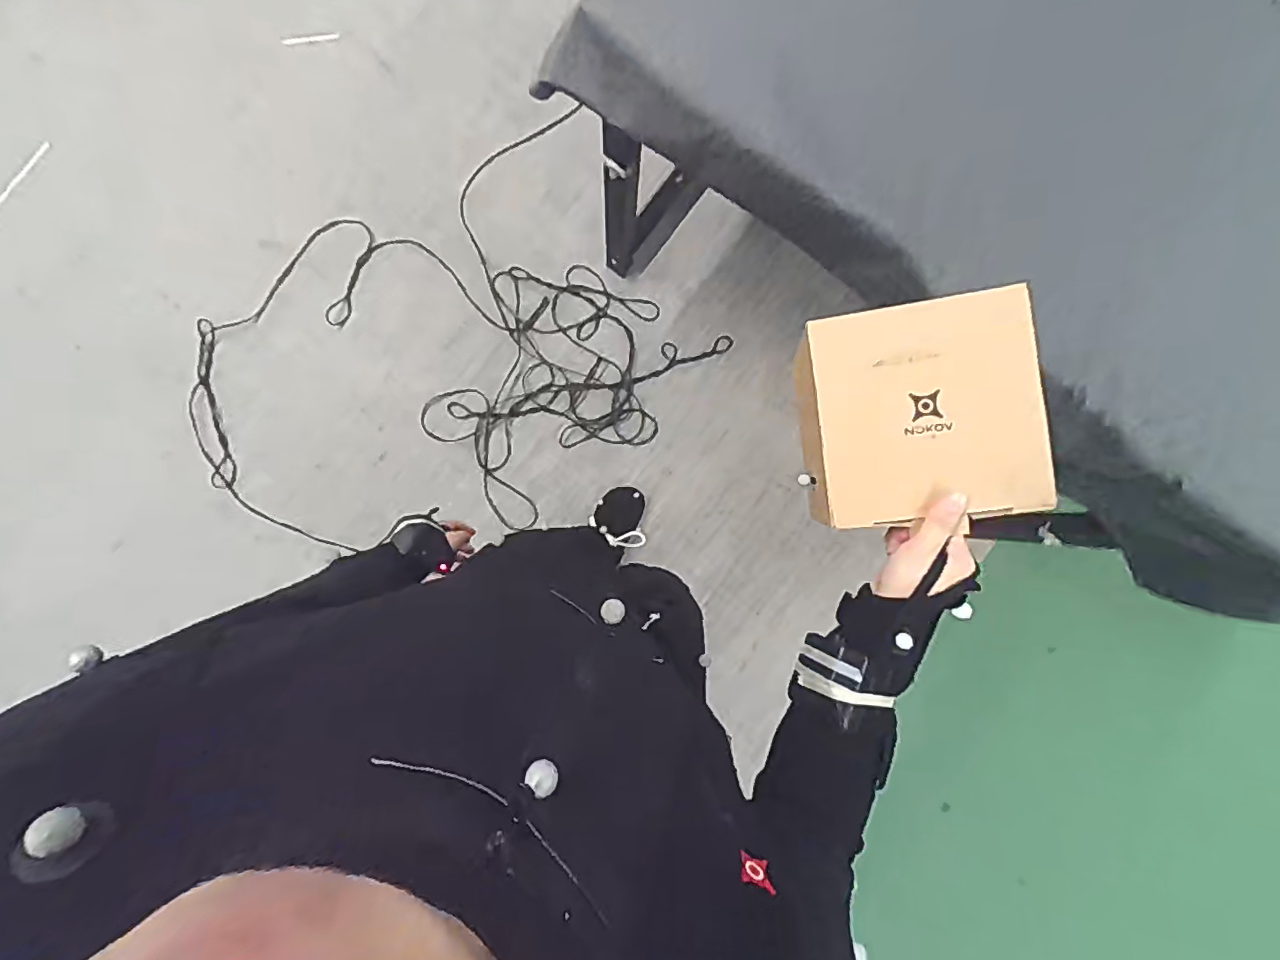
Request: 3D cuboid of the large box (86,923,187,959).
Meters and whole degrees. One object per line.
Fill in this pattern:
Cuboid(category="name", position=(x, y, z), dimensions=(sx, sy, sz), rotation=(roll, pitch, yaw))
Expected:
Cuboid(category="large box", position=(-1.102, 1.255, 1.103), dimensions=(0.408, 0.320, 0.320), rotation=(36, 85, 1))

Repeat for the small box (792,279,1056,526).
Cuboid(category="small box", position=(0.241, -0.058, 0.504), dimensions=(0.168, 0.176, 0.179), rotation=(-8, 87, 11))
